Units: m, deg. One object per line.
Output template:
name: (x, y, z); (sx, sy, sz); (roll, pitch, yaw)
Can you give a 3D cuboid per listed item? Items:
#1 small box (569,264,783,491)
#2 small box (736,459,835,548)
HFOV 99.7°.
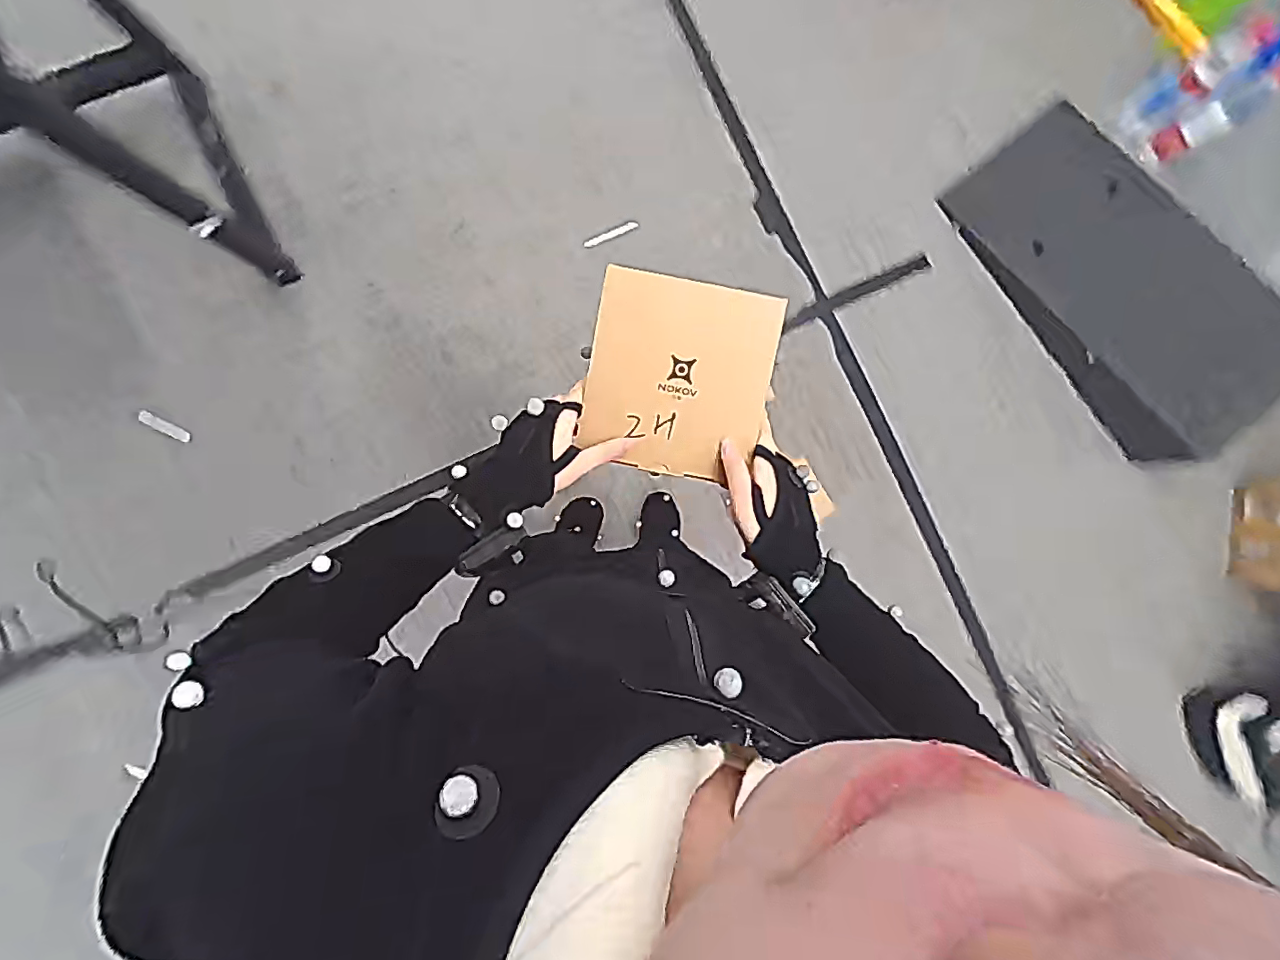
small box: (0.030, -0.098, 0.556); (0.168, 0.176, 0.179); (10, 98, 0)
small box: (0.372, 0.059, 1.429); (0.179, 0.176, 0.168); (-32, 93, -4)
